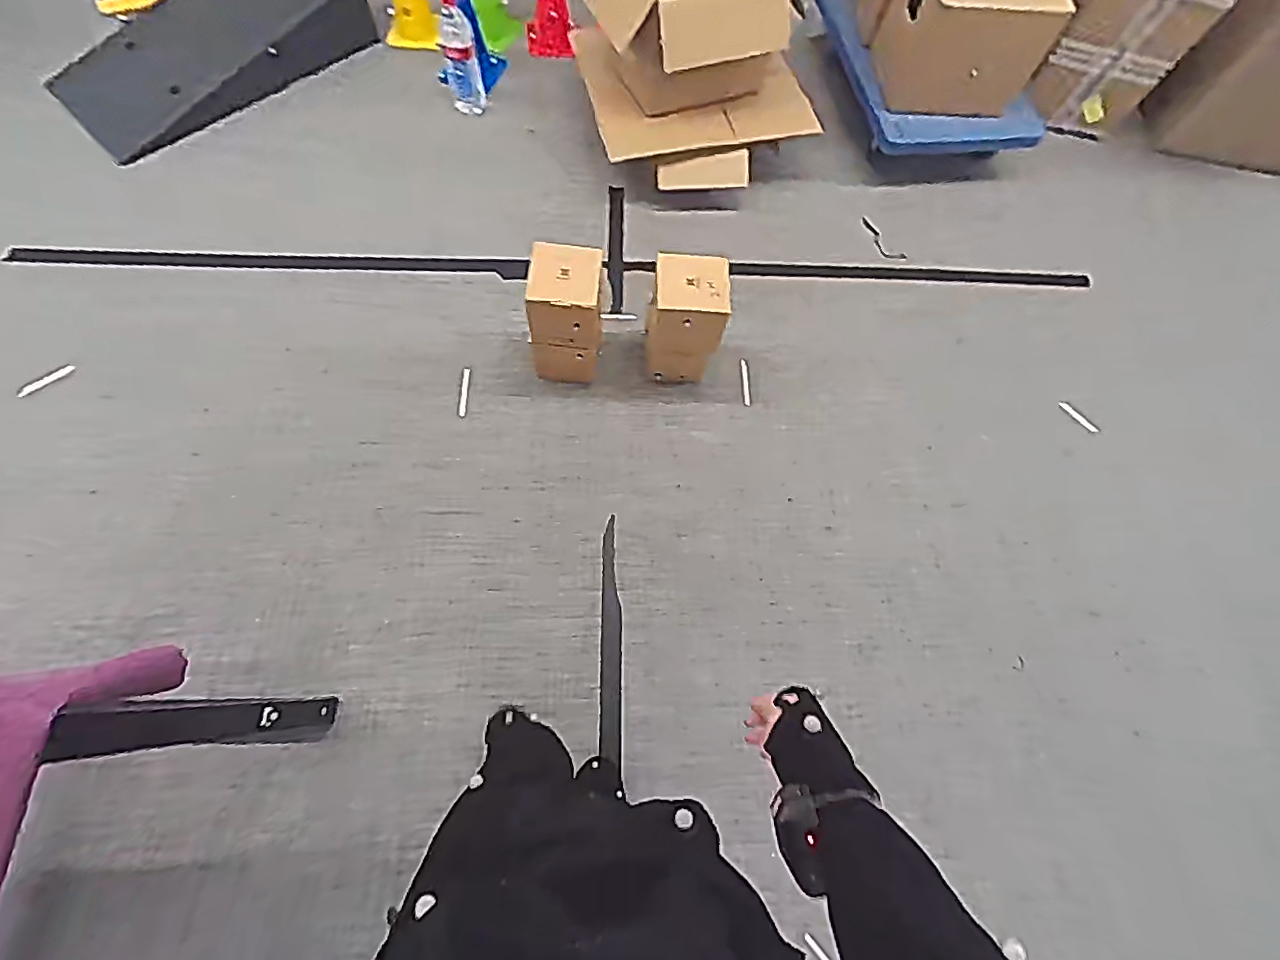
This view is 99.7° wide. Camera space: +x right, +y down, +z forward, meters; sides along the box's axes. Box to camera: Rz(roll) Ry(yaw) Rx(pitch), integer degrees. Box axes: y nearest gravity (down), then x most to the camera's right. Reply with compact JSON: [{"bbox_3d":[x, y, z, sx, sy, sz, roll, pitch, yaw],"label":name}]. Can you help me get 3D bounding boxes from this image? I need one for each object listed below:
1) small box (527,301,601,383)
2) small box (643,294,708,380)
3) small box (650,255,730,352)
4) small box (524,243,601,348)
[{"bbox_3d":[-0.203,-0.384,1.487,0.179,0.176,0.168,6,69,-3],"label":"small box"},{"bbox_3d":[0.099,-0.394,1.515,0.168,0.176,0.179,0,69,-5],"label":"small box"},{"bbox_3d":[0.118,-0.437,1.356,0.179,0.176,0.168,2,70,-5],"label":"small box"},{"bbox_3d":[-0.186,-0.449,1.339,0.168,0.176,0.179,5,68,-5],"label":"small box"}]
